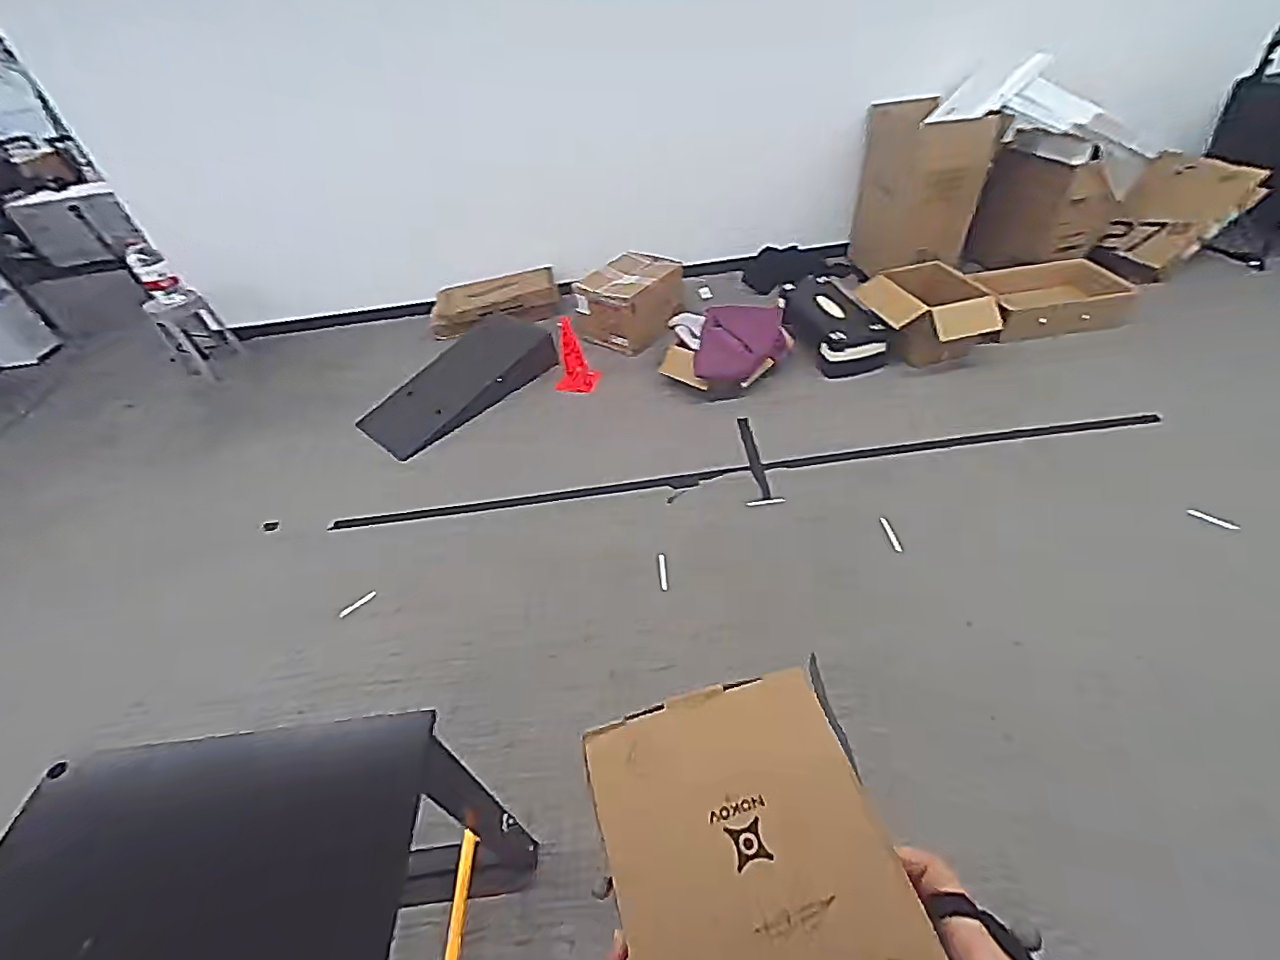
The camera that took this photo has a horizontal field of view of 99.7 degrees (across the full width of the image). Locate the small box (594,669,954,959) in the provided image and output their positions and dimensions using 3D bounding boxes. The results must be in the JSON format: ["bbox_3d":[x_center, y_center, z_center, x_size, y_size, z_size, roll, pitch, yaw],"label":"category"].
[{"bbox_3d":[0.065,0.264,0.379,0.168,0.176,0.179,-11,50,-11],"label":"small box"}]
